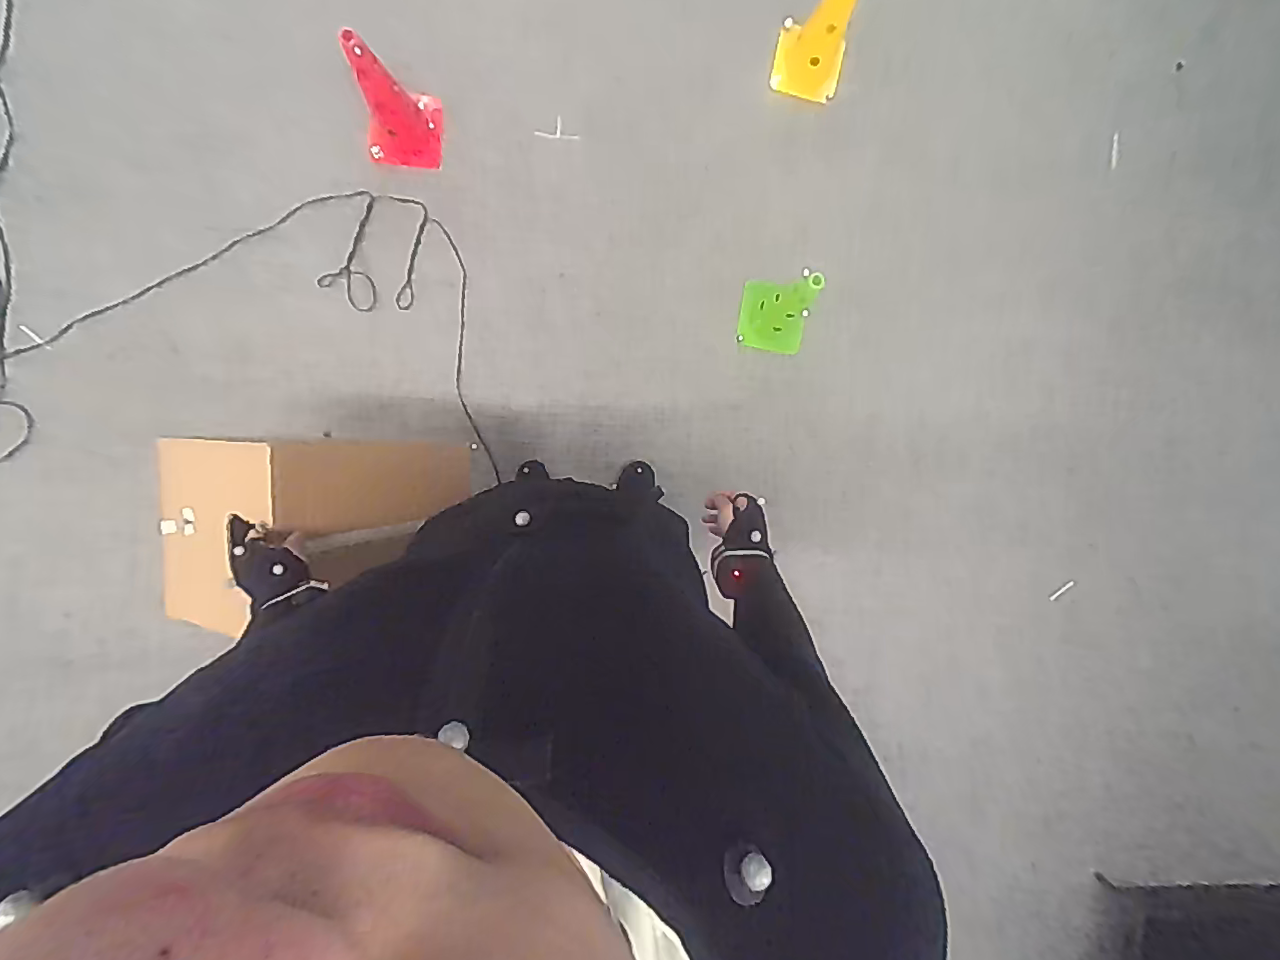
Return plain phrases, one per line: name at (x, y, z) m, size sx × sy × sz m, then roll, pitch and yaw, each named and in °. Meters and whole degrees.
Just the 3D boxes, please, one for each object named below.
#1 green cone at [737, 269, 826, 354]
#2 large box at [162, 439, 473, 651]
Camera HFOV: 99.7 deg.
green cone at (0.417, -0.487, 1.477) m, size 0.200 × 0.368 × 0.202 m, roll 8°, pitch 91°, yaw -5°
large box at (-0.579, 0.082, 1.028) m, size 0.320 × 0.408 × 0.320 m, roll 4°, pitch 96°, yaw 24°
